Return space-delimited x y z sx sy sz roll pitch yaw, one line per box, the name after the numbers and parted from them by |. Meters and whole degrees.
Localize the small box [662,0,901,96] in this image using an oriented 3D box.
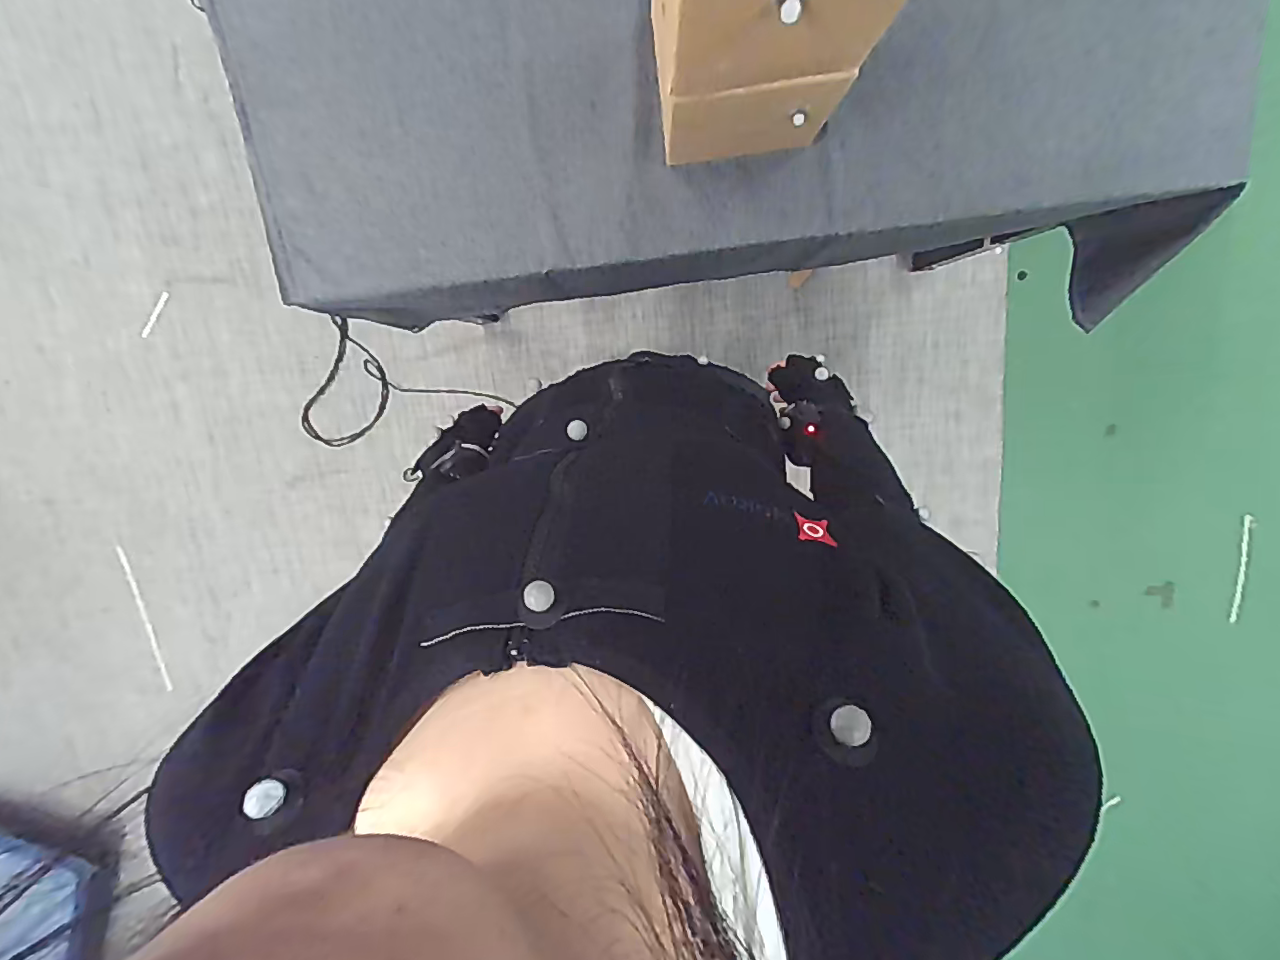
0.104 -0.427 0.406 0.179 0.176 0.168 -7 102 4 | small box
